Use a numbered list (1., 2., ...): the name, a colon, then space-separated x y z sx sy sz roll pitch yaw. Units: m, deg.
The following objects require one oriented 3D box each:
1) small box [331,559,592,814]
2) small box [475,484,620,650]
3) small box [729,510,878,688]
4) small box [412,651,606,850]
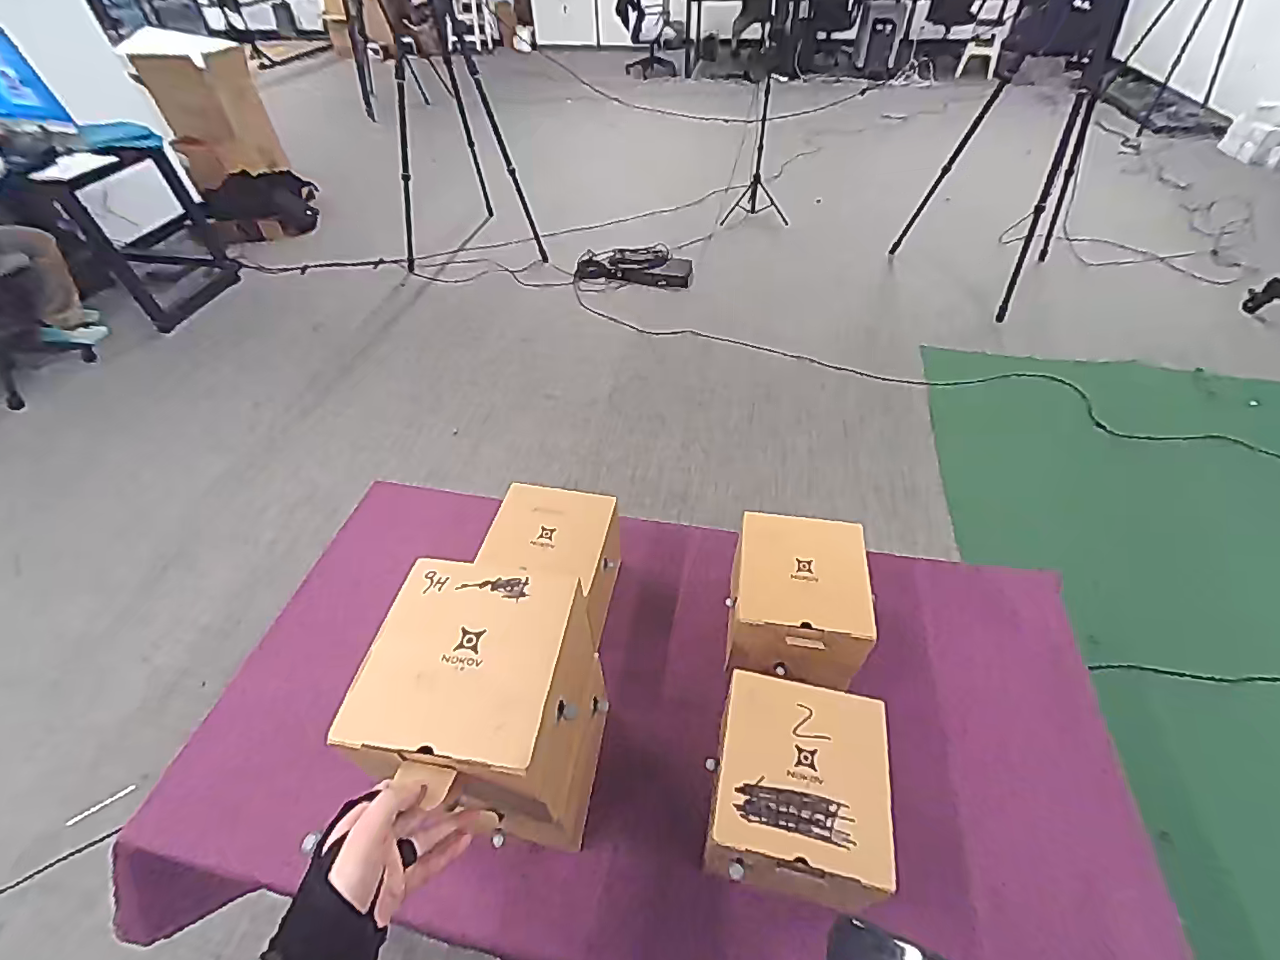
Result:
1. small box: -0.146 0.202 0.524 0.168 0.176 0.179 5 48 7
2. small box: -0.127 0.134 0.812 0.168 0.176 0.179 8 48 8
3. small box: 0.218 0.169 0.765 0.168 0.176 0.179 5 49 8
4. small box: -0.138 0.313 0.647 0.168 0.176 0.179 5 47 8
